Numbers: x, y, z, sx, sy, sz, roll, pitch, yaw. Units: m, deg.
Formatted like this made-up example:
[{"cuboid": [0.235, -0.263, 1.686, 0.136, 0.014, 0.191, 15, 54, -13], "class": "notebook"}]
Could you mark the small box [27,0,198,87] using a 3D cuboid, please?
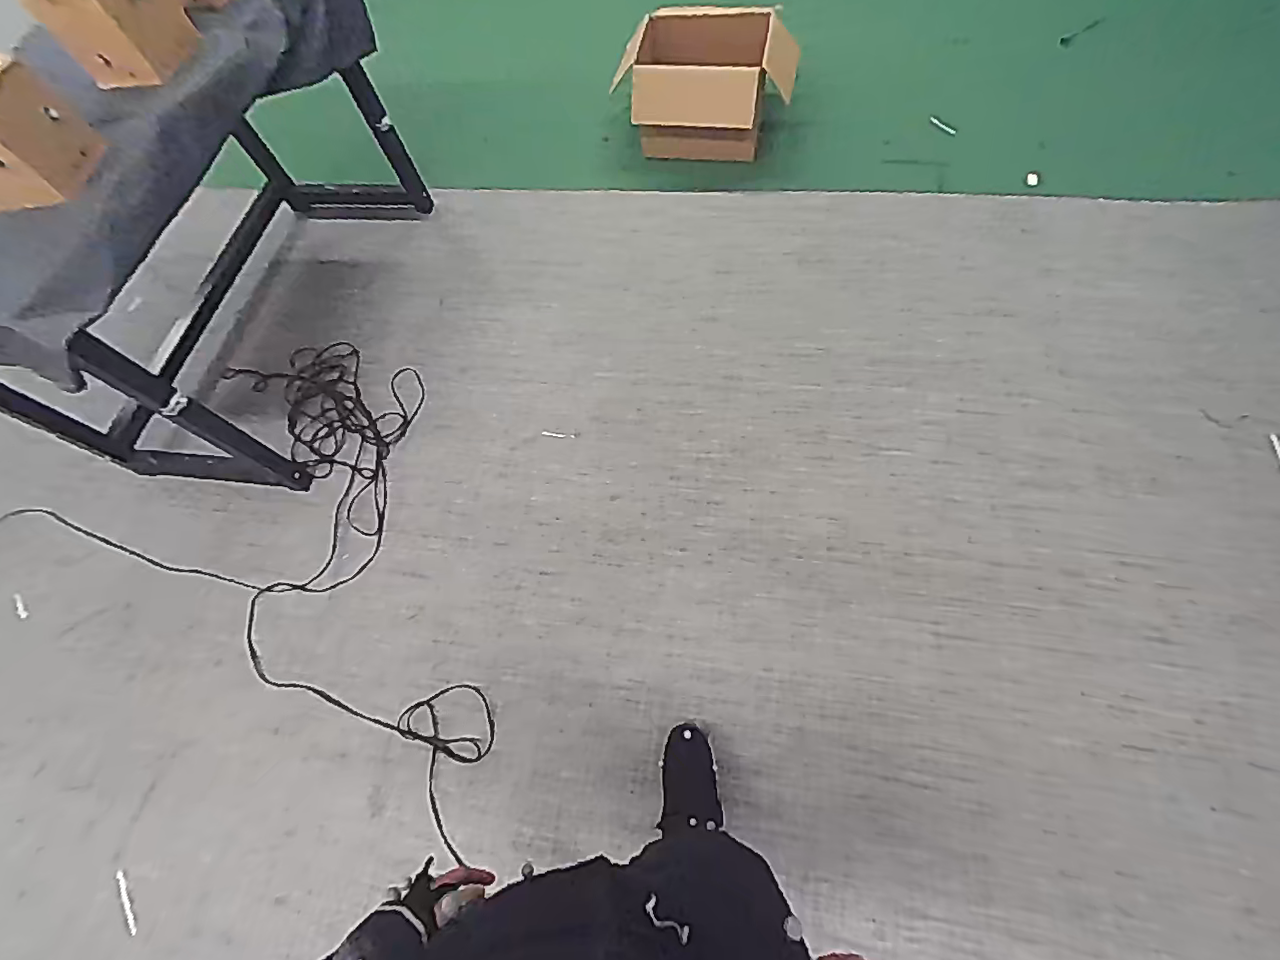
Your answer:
[{"cuboid": [-1.067, -0.945, 1.108, 0.168, 0.176, 0.179, 3, 66, 8], "class": "small box"}]

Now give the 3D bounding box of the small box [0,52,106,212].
[{"cuboid": [-1.124, -0.607, 0.956, 0.179, 0.176, 0.168, -5, 63, 6], "class": "small box"}]
